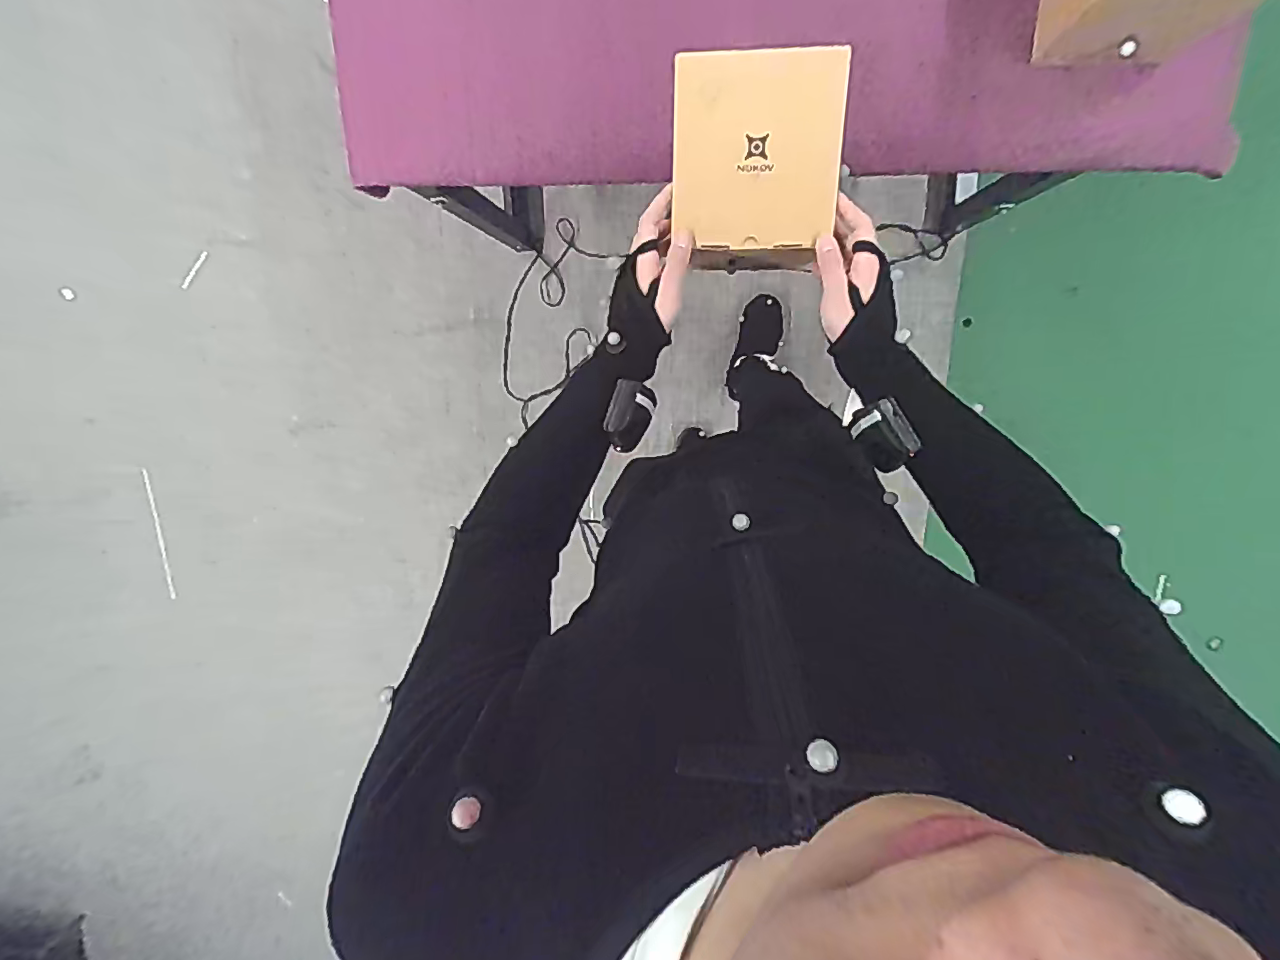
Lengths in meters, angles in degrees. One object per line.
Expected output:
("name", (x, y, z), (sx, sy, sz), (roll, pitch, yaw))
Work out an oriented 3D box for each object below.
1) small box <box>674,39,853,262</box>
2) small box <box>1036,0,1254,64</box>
("small box", (0.123, -0.349, 0.606), (0.168, 0.176, 0.179), (2, 106, 5))
("small box", (0.579, -0.603, 0.595), (0.168, 0.176, 0.179), (3, 102, 7))
